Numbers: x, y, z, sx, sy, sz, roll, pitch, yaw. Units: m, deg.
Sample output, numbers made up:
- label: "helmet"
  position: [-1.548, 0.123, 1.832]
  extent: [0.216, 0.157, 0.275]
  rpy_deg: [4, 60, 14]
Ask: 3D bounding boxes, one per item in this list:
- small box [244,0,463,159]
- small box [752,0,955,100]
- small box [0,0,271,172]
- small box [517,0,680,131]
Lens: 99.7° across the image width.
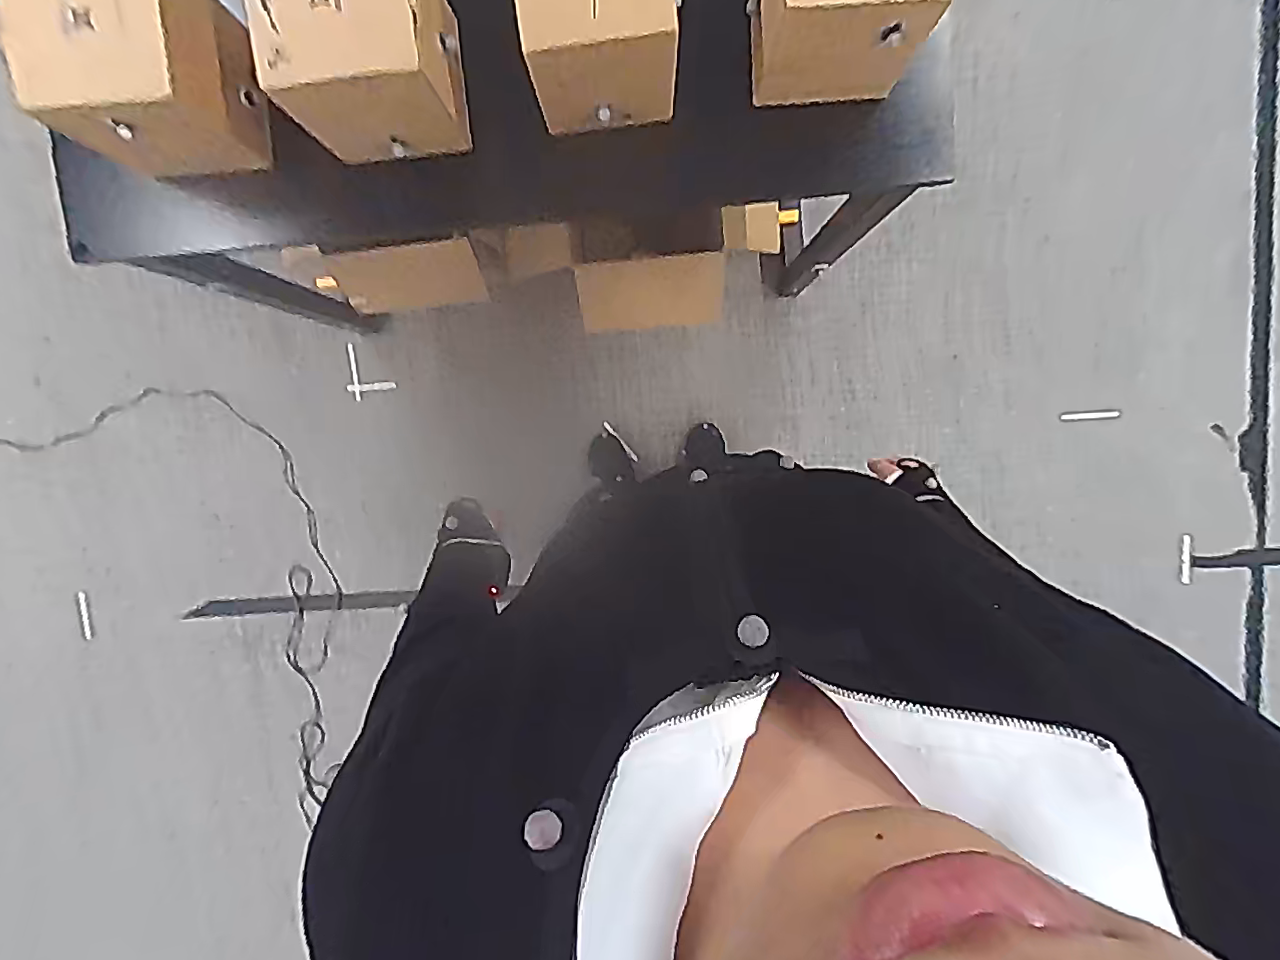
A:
- label: "small box"
  position: [-0.317, -0.504, 0.629]
  extent: [0.179, 0.176, 0.168]
  rpy_deg: [-7, 96, 0]
- label: "small box"
  position: [0.231, -0.567, 0.613]
  extent: [0.179, 0.176, 0.168]
  rpy_deg: [-3, 95, 2]
- label: "small box"
  position: [-0.580, -0.483, 0.633]
  extent: [0.179, 0.176, 0.168]
  rpy_deg: [-3, 96, 0]
- label: "small box"
  position: [-0.048, -0.544, 0.621]
  extent: [0.168, 0.176, 0.179]
  rpy_deg: [-7, 96, 2]
